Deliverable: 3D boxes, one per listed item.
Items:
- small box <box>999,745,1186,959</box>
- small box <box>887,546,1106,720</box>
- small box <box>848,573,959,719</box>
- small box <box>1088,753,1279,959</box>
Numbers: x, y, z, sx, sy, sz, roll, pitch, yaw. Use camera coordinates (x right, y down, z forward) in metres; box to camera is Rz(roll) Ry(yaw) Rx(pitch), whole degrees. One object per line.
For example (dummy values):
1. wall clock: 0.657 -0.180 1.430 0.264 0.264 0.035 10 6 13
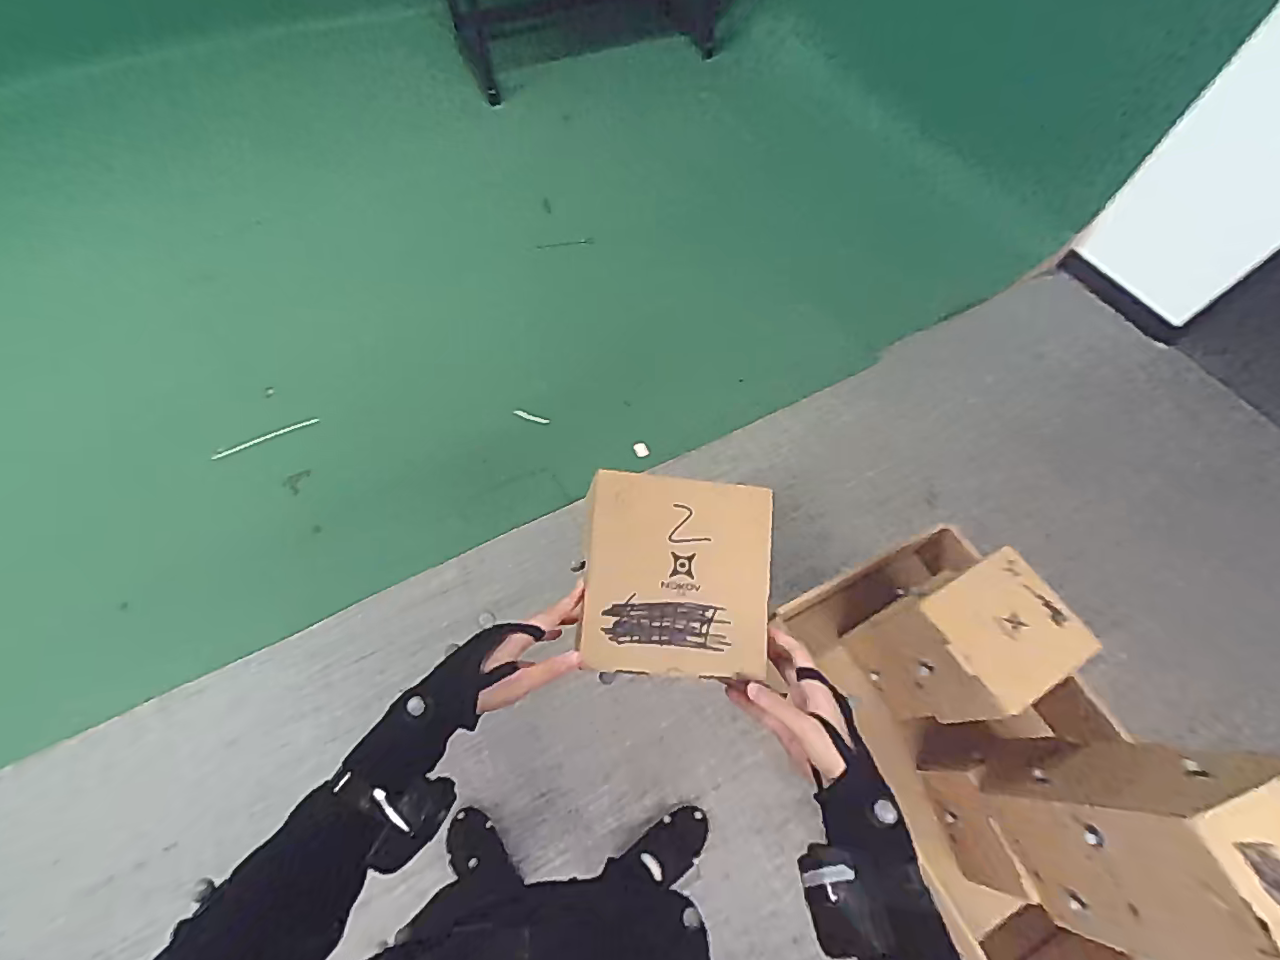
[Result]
1. small box: 0.593 0.449 0.671 0.179 0.176 0.168 -18 65 -10
2. small box: 0.489 0.228 0.780 0.179 0.176 0.168 -27 67 -13
3. small box: 0.497 0.290 0.933 0.179 0.176 0.168 -27 66 -13
4. small box: 0.593 0.380 0.523 0.179 0.176 0.168 -16 65 -9
